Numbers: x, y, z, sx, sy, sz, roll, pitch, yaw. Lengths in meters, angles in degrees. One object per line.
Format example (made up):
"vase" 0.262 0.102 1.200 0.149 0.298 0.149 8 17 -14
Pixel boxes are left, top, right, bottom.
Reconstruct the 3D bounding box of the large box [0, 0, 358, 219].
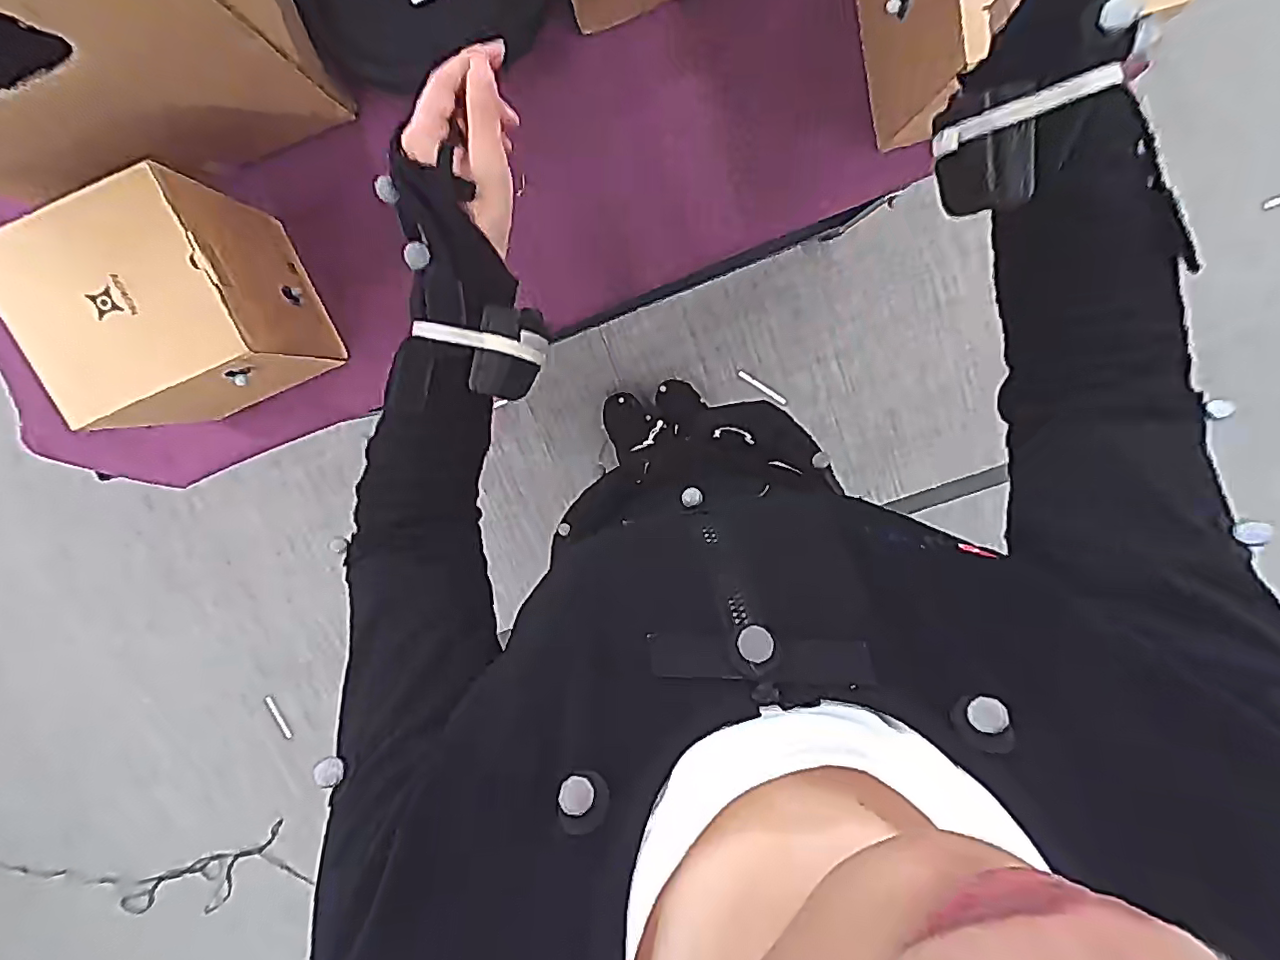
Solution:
"large box" -0.507 -0.482 0.403 0.320 0.320 0.408 -21 104 5
